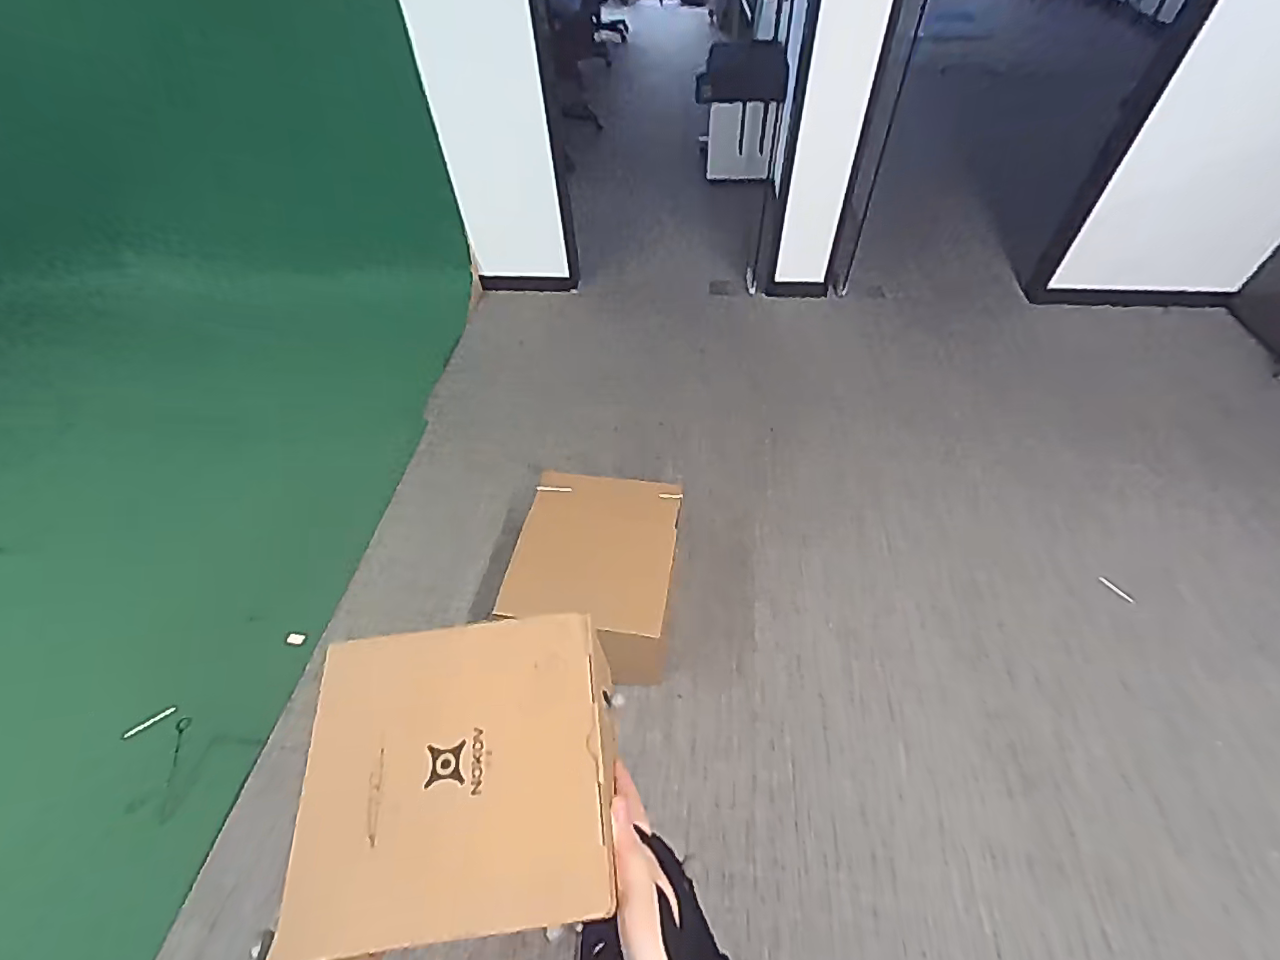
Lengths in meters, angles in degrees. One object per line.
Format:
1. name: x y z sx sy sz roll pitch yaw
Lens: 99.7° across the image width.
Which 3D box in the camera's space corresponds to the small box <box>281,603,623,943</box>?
1. small box: -0.105 0.202 0.389 0.179 0.176 0.168 -7 57 -2
